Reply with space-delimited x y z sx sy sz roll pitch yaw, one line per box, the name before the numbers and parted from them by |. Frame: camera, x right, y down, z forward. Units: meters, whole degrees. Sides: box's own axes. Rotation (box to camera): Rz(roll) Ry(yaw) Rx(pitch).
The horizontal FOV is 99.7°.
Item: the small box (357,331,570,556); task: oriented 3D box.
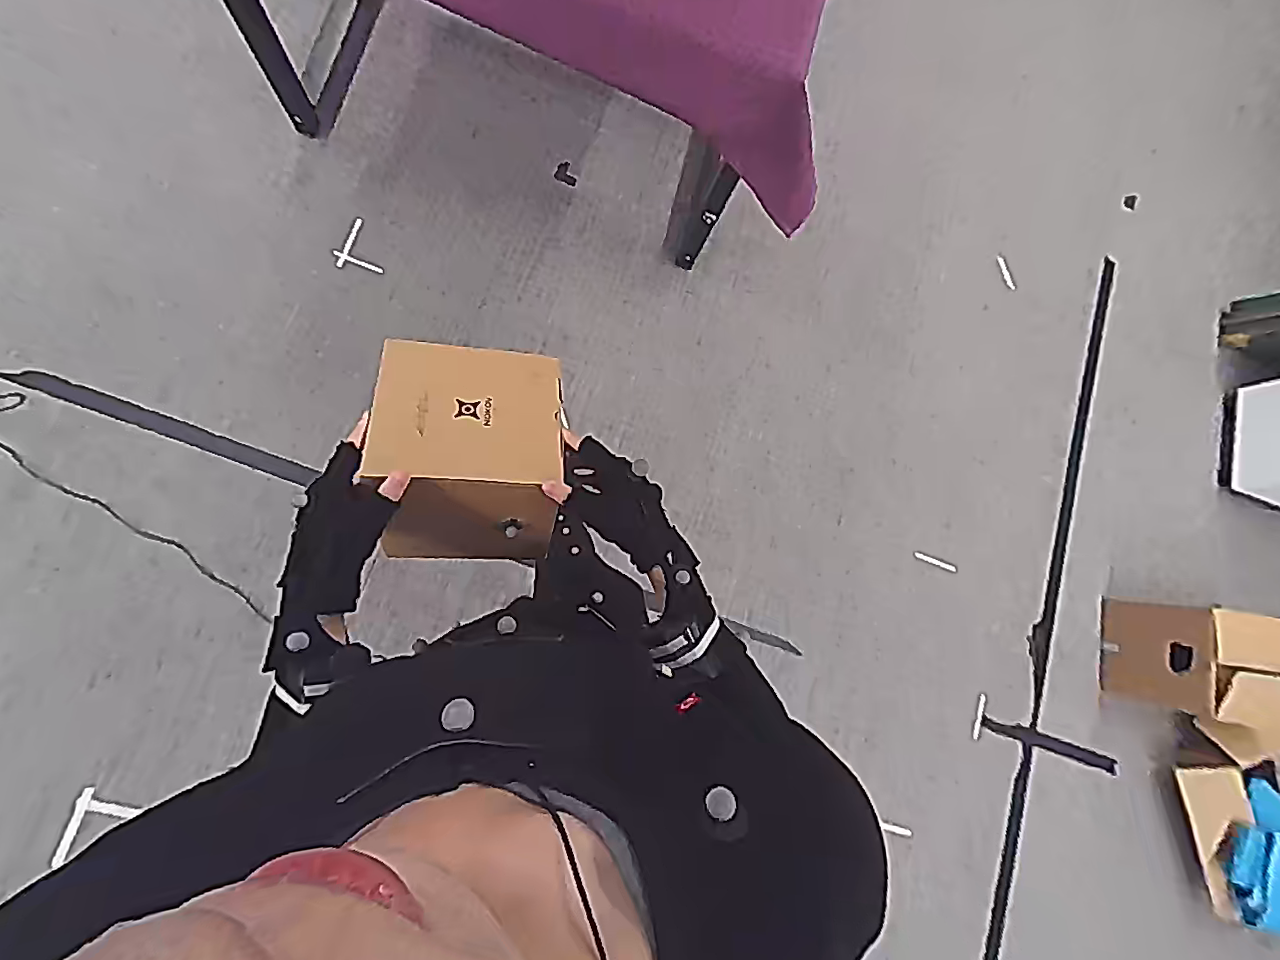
small box | -0.176 -0.029 0.568 0.179 0.176 0.168 1 56 -16
